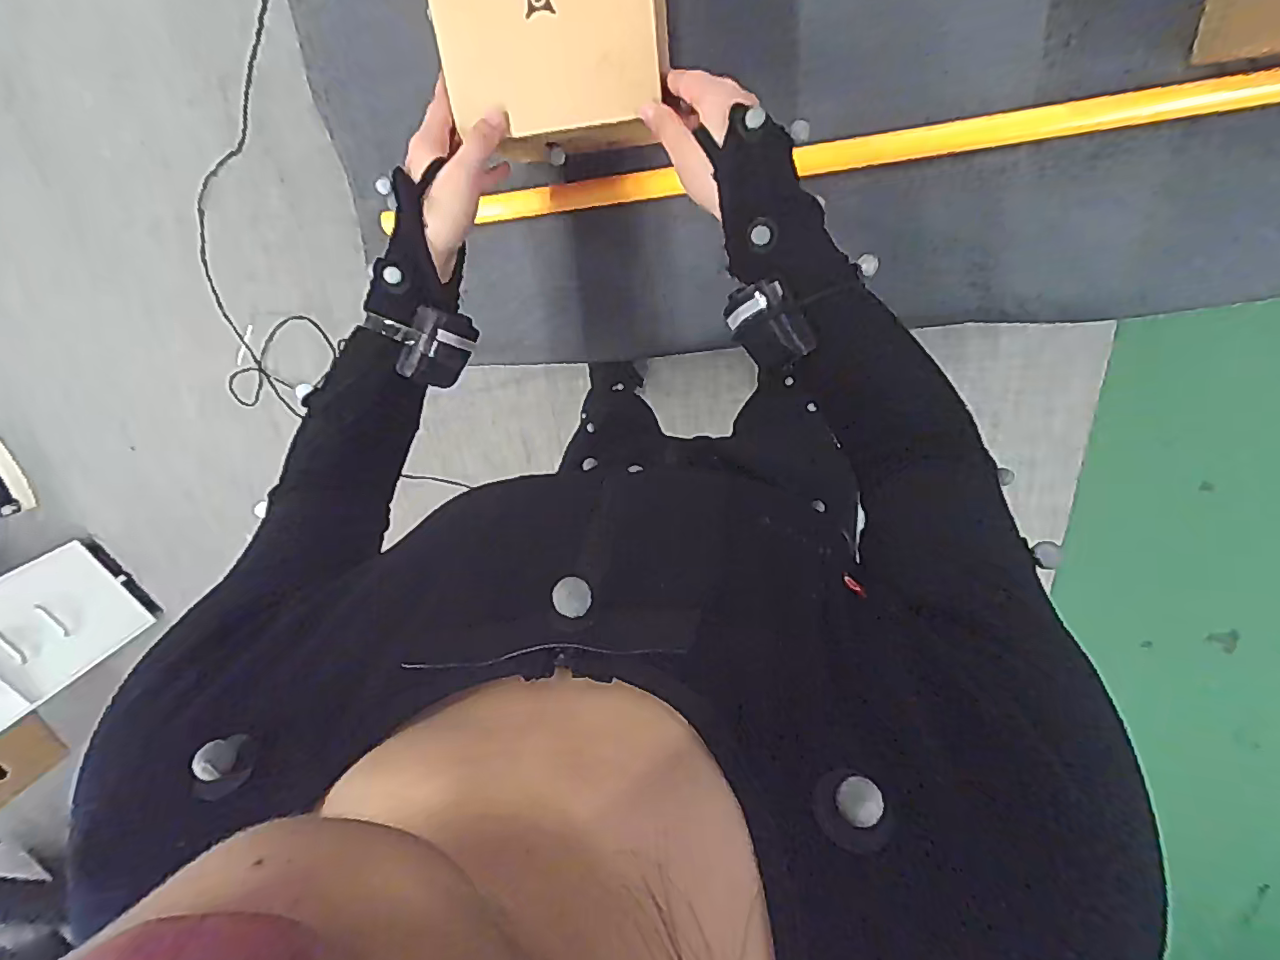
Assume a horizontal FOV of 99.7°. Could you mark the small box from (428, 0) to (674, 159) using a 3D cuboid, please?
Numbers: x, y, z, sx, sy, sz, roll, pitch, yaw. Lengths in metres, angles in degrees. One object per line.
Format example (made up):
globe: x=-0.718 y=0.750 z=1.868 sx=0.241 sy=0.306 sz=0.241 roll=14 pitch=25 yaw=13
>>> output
small box: x=-0.063 y=-0.381 z=0.454 sx=0.168 sy=0.176 sz=0.179 roll=-3 pitch=115 yaw=9

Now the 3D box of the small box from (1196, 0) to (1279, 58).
small box: x=0.530 y=-0.397 z=0.347 sx=0.168 sy=0.176 sz=0.179 roll=1 pitch=116 yaw=10
